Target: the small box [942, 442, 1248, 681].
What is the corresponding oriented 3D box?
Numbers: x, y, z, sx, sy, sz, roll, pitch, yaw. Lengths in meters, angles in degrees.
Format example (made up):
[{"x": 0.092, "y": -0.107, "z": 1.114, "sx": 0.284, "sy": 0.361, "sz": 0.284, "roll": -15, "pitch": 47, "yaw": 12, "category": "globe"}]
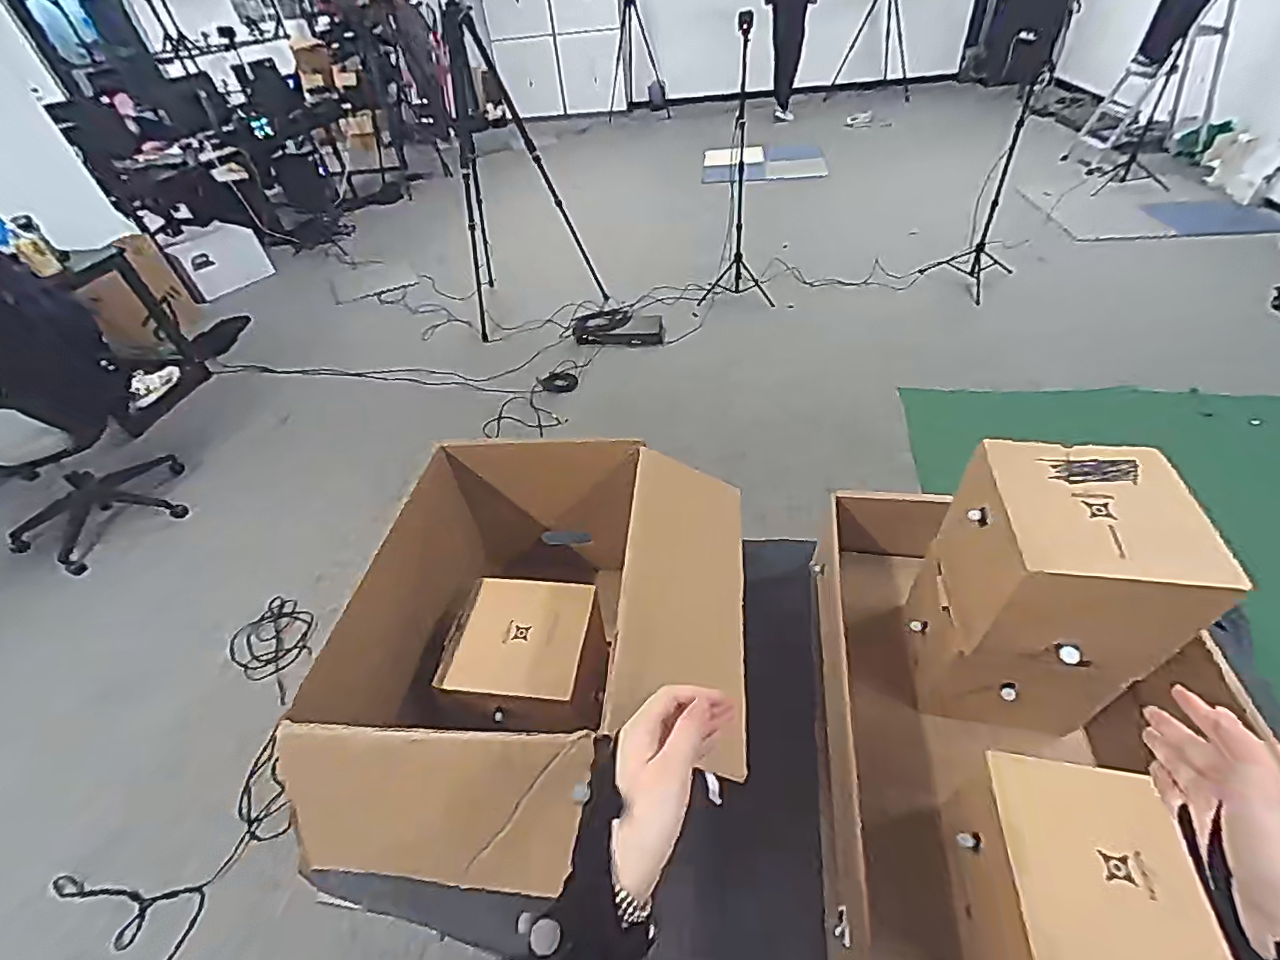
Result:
[{"x": 0.439, "y": 0.083, "z": 0.568, "sx": 0.168, "sy": 0.176, "sz": 0.179, "roll": 4, "pitch": 47, "yaw": 12, "category": "small box"}]
